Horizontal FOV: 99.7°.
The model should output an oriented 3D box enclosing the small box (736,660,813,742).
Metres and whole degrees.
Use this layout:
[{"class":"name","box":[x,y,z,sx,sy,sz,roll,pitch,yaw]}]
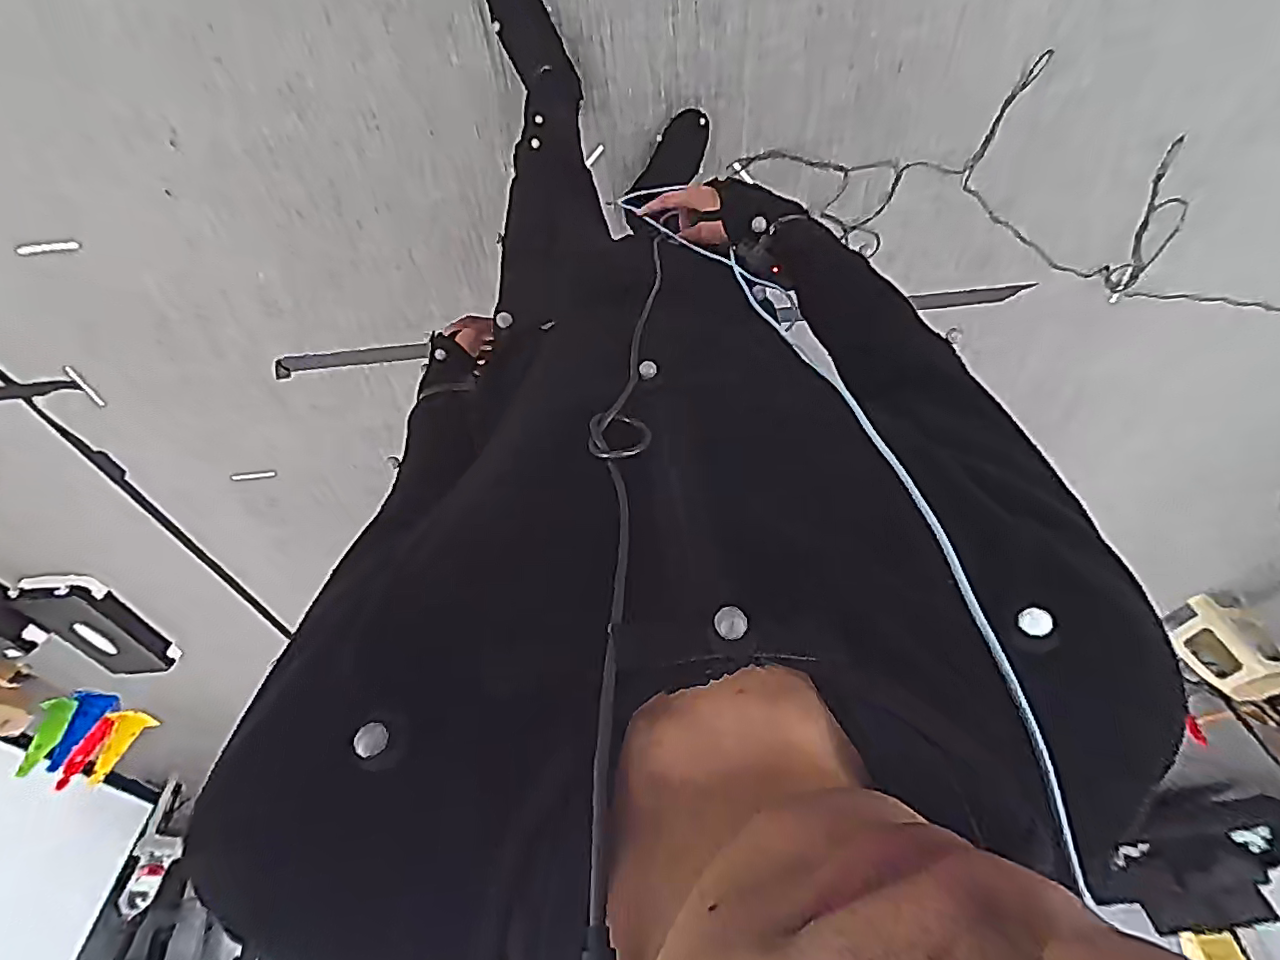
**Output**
[{"class":"small box","box":[0.384,0.646,1.585,0.179,0.176,0.168,-5,135,-1]}]
